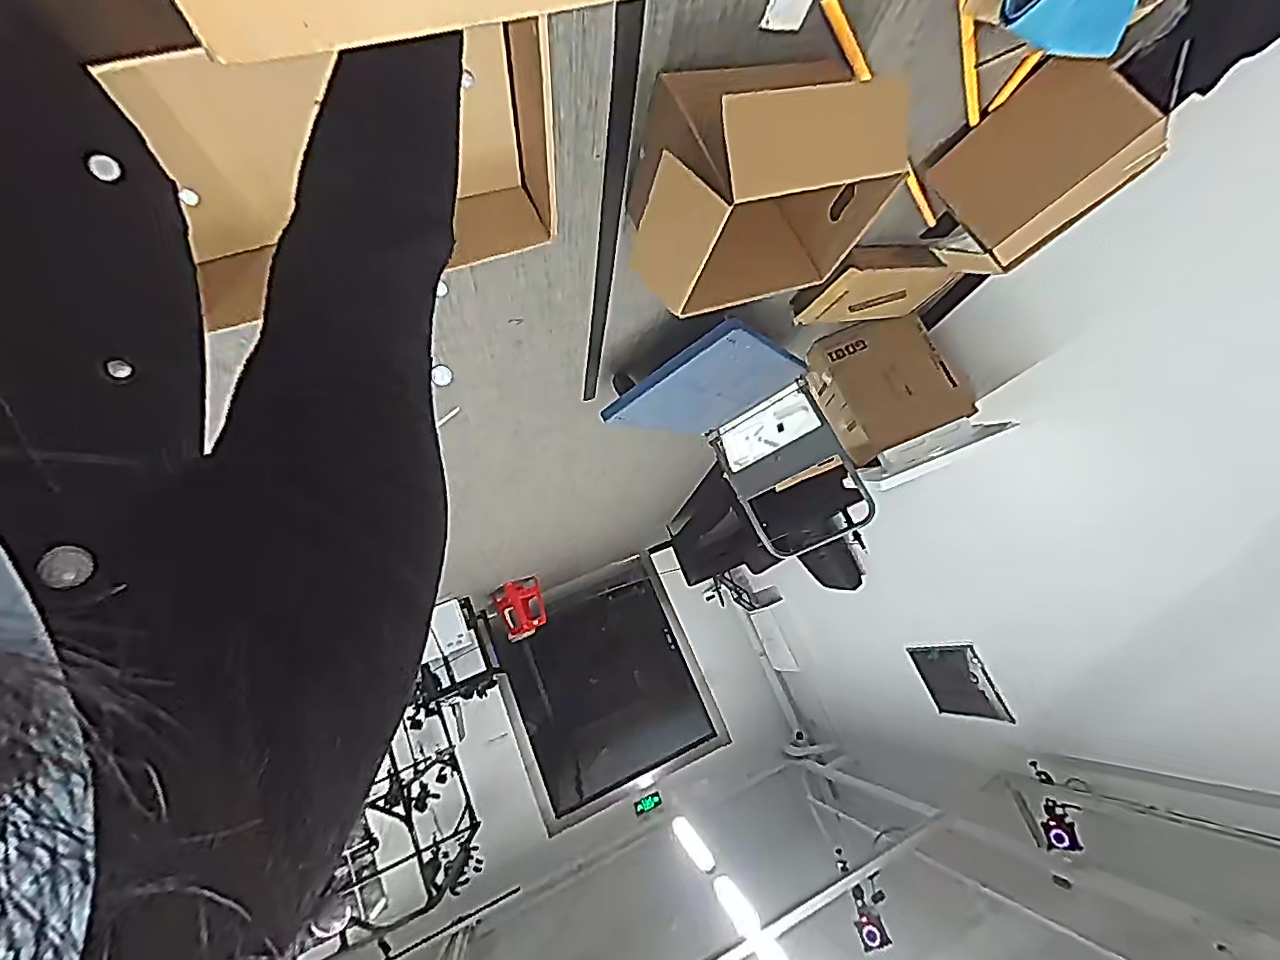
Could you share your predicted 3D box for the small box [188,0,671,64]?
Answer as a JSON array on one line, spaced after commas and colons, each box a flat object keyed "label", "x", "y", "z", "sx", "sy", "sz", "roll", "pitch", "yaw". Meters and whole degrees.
[{"label": "small box", "x": -0.082, "y": -0.266, "z": 0.145, "sx": 0.179, "sy": 0.176, "sz": 0.168, "roll": -20, "pitch": 166, "yaw": -12}]
